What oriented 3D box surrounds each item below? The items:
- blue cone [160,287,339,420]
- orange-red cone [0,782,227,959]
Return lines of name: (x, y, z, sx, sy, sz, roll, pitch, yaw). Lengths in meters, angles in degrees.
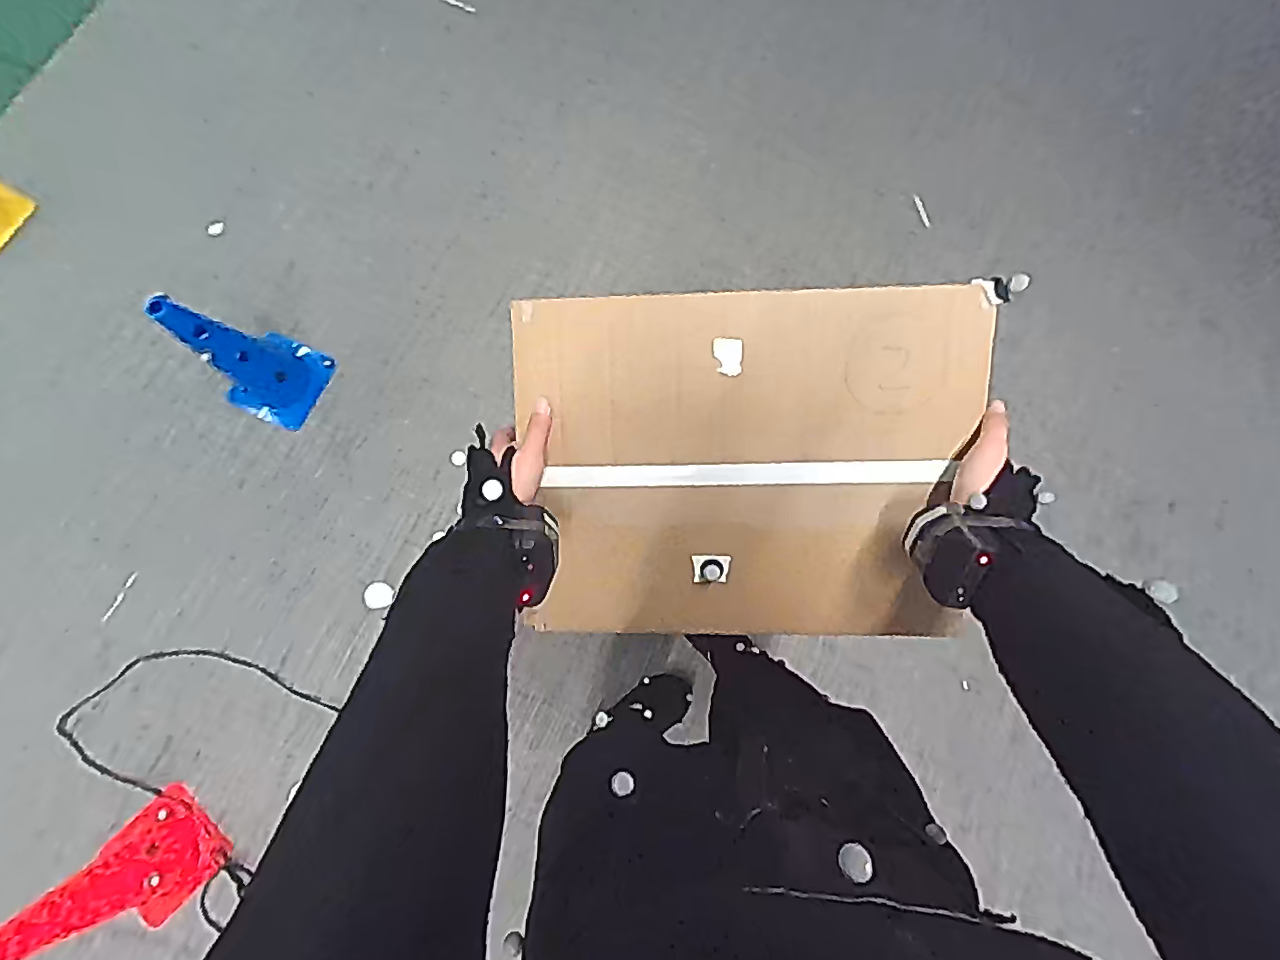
blue cone: (-0.851, -0.284, 1.151, 0.193, 0.380, 0.192, 25, 79, 4)
orange-red cone: (-0.962, 0.713, 0.925, 0.199, 0.360, 0.198, -44, 81, -7)
